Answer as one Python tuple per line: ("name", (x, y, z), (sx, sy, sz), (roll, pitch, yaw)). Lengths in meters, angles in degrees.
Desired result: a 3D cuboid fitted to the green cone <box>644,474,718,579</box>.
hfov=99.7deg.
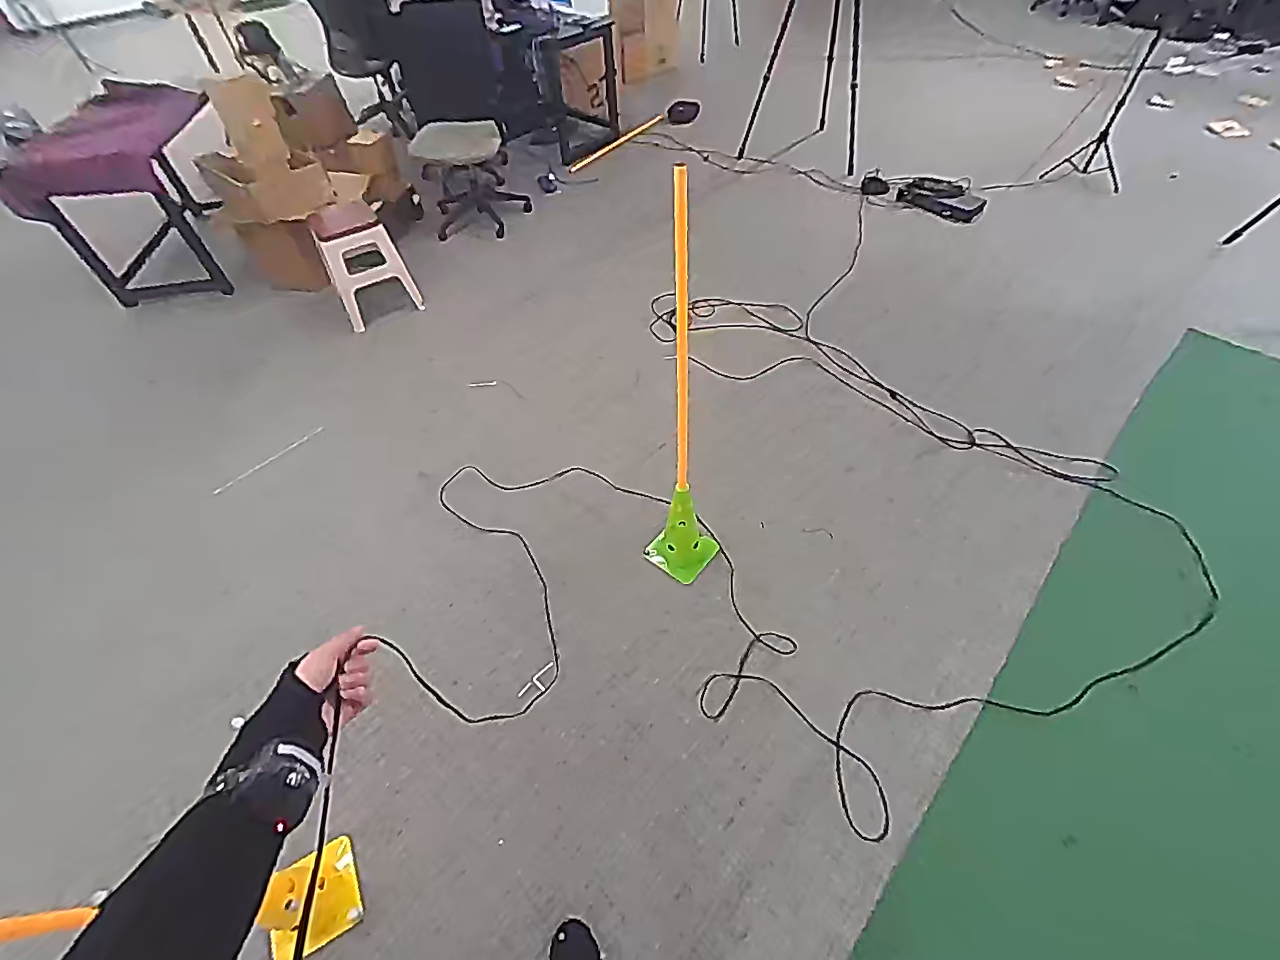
("green cone", (0.135, 0.116, 1.717), (0.200, 0.368, 0.202), (31, 58, 25))
